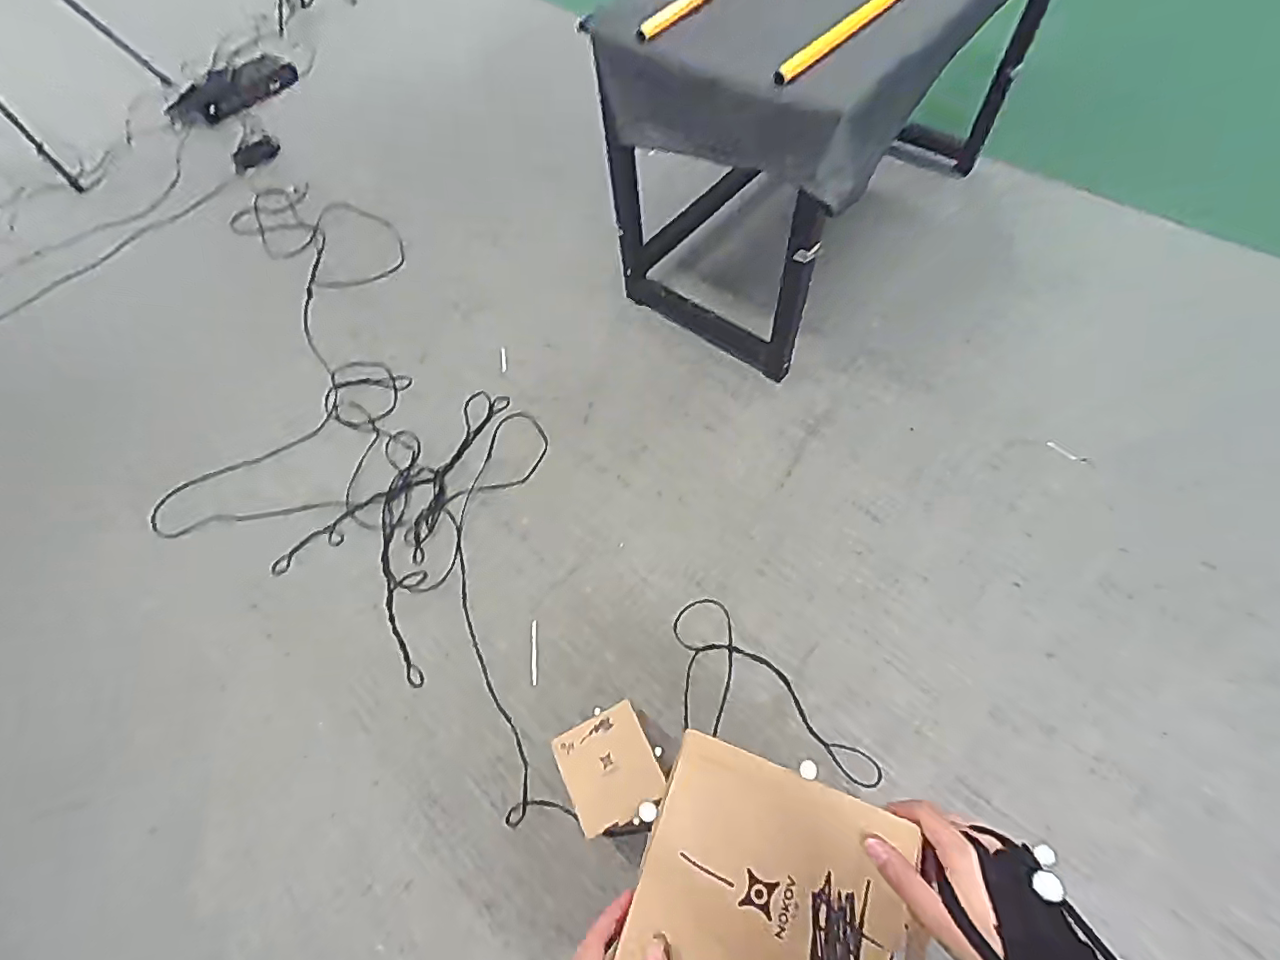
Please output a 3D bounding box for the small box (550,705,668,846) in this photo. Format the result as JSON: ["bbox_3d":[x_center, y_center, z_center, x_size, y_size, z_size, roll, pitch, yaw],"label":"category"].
[{"bbox_3d":[-0.048,0.557,1.033,0.168,0.176,0.179,-26,62,-8],"label":"small box"}]

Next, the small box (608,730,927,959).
[{"bbox_3d":[0.091,0.317,0.429,0.179,0.176,0.168,19,66,13],"label":"small box"}]
